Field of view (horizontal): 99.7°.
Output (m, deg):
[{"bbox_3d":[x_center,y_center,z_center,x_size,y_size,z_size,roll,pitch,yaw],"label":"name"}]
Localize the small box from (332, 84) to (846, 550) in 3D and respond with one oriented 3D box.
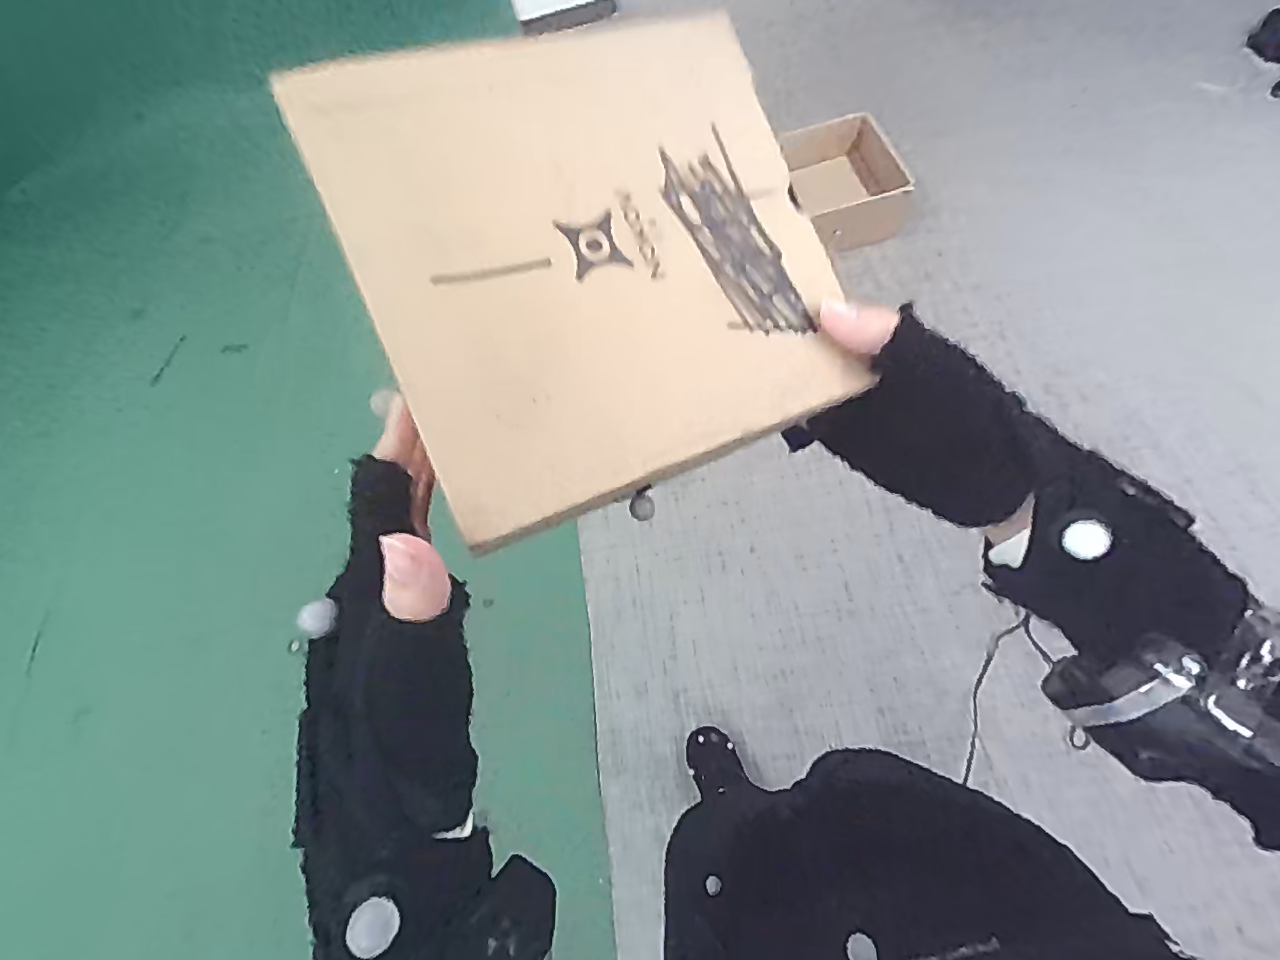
[{"bbox_3d":[-0.033,-0.069,0.297,0.179,0.176,0.168,-20,86,-18],"label":"small box"}]
